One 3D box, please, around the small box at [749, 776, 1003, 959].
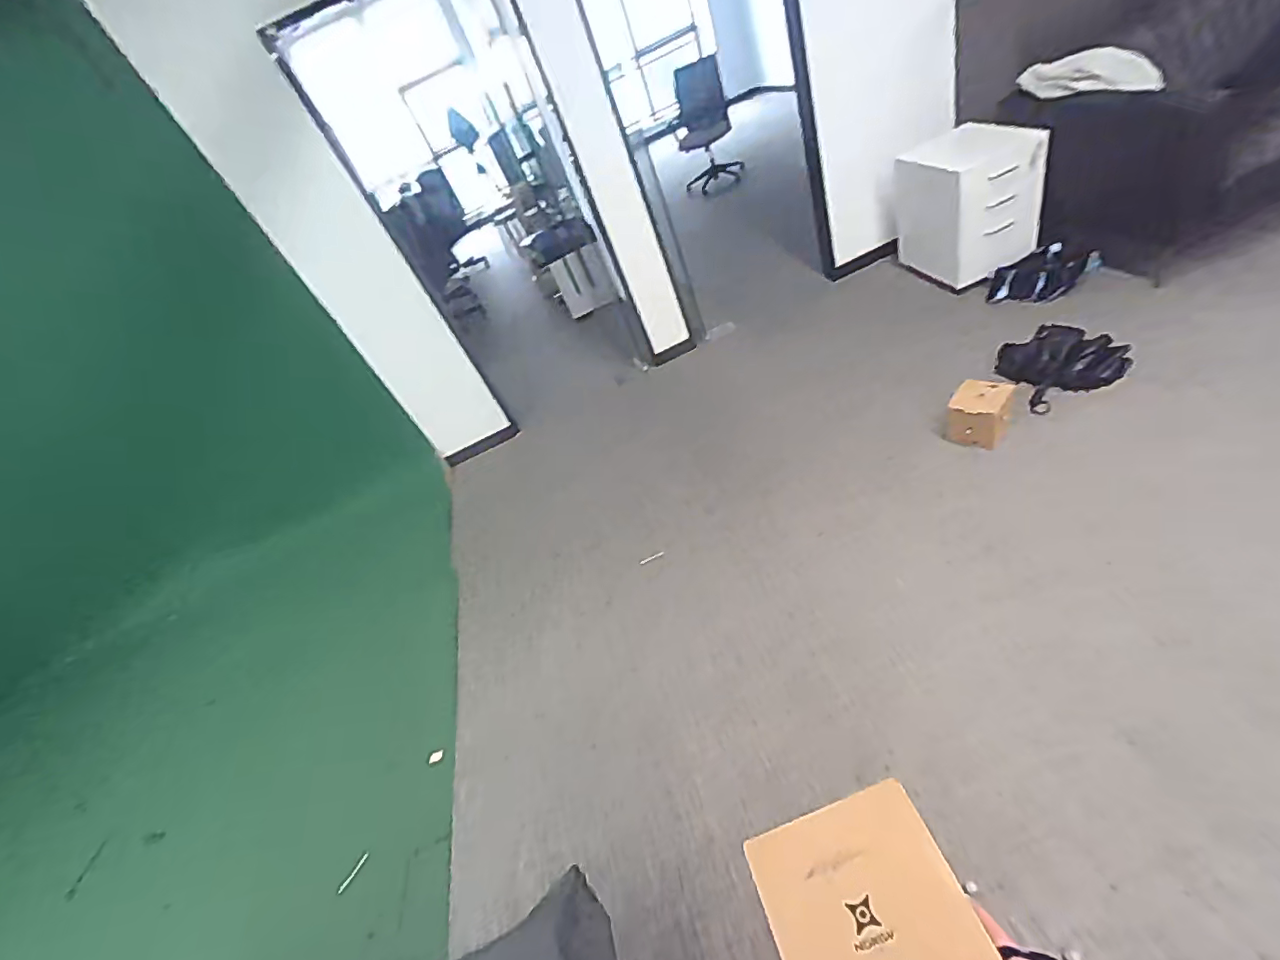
[{"bbox_3d":[0.233,0.424,0.525,0.168,0.176,0.179,-28,44,6],"label":"small box"}]
